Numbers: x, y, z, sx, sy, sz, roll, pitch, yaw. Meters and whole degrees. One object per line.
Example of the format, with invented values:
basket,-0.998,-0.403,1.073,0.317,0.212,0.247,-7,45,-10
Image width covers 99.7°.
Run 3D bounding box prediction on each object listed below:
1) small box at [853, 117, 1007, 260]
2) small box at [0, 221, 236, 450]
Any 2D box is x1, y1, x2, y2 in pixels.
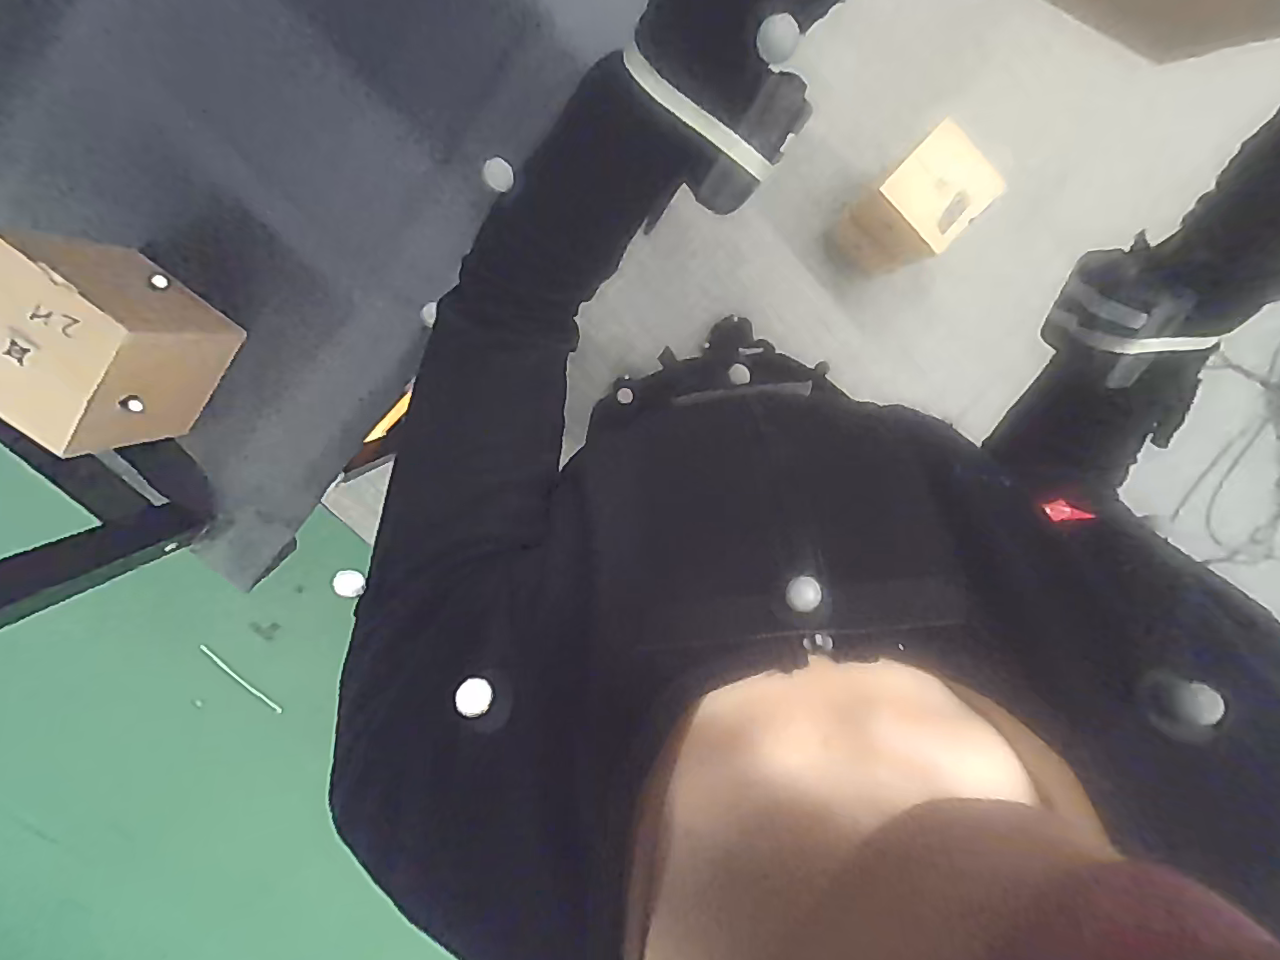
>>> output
small box,0.564,-0.562,1.075,0.179,0.176,0.168,43,102,-8
small box,-0.633,-0.163,0.633,0.168,0.176,0.179,39,102,-9
